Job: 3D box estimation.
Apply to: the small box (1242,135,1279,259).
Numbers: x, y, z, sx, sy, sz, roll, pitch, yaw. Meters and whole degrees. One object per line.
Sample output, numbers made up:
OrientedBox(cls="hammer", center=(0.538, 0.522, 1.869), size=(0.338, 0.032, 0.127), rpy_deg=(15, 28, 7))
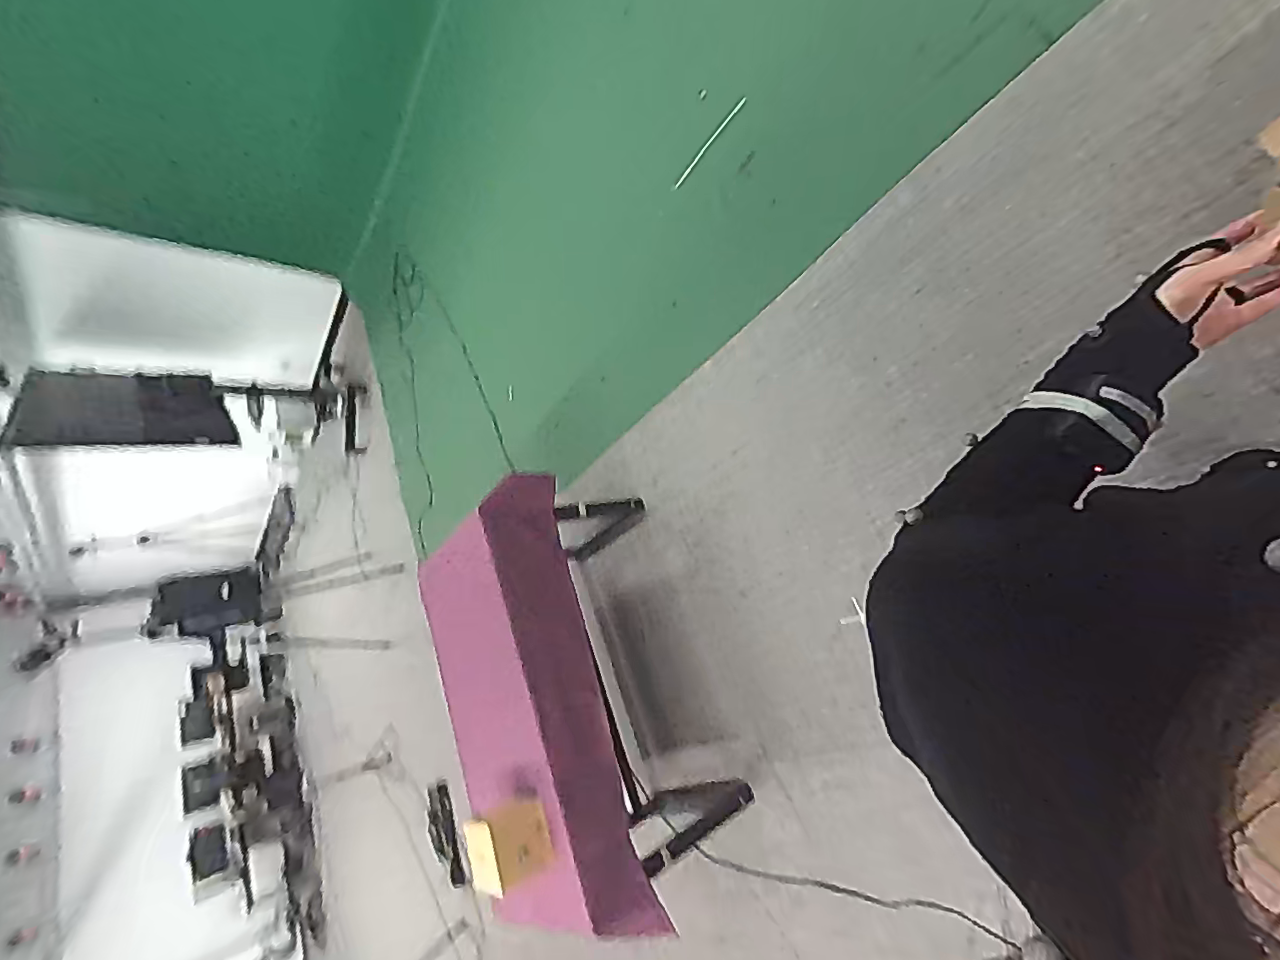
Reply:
OrientedBox(cls="small box", center=(0.511, -0.224, 0.310), size=(0.179, 0.176, 0.168), rpy_deg=(14, 111, 33))

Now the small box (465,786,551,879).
OrientedBox(cls="small box", center=(-0.364, 0.979, 1.517), size=(0.179, 0.176, 0.168), rpy_deg=(-33, 69, 44))
